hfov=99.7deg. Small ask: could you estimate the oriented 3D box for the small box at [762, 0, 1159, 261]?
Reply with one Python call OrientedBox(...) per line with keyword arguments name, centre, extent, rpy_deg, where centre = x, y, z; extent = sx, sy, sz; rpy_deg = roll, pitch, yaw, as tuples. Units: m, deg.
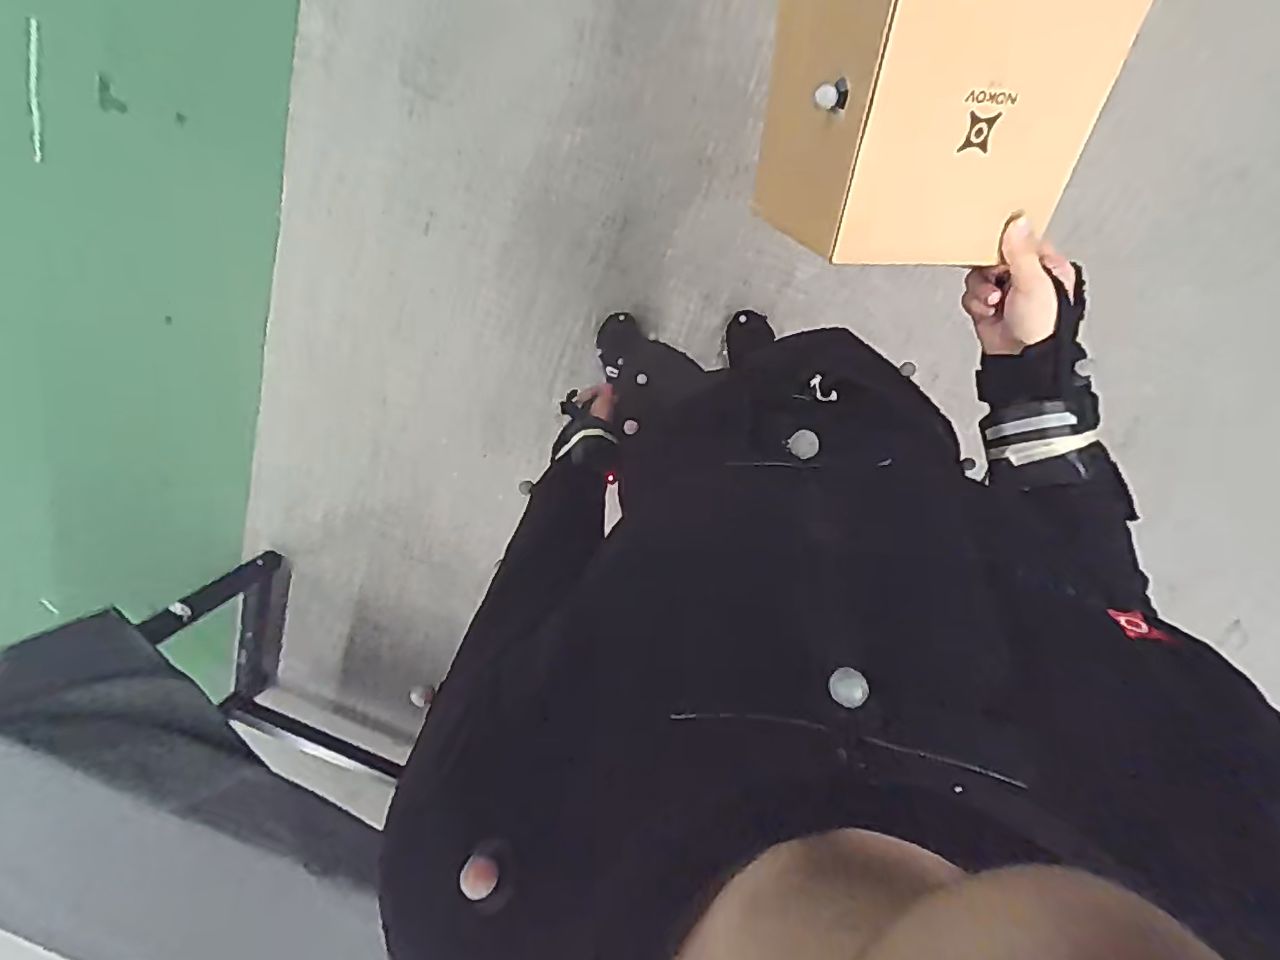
OrientedBox(name="small box", centre=(0.204, -0.277, 0.400), extent=(0.168, 0.176, 0.179), rpy_deg=(-3, 127, -10))
